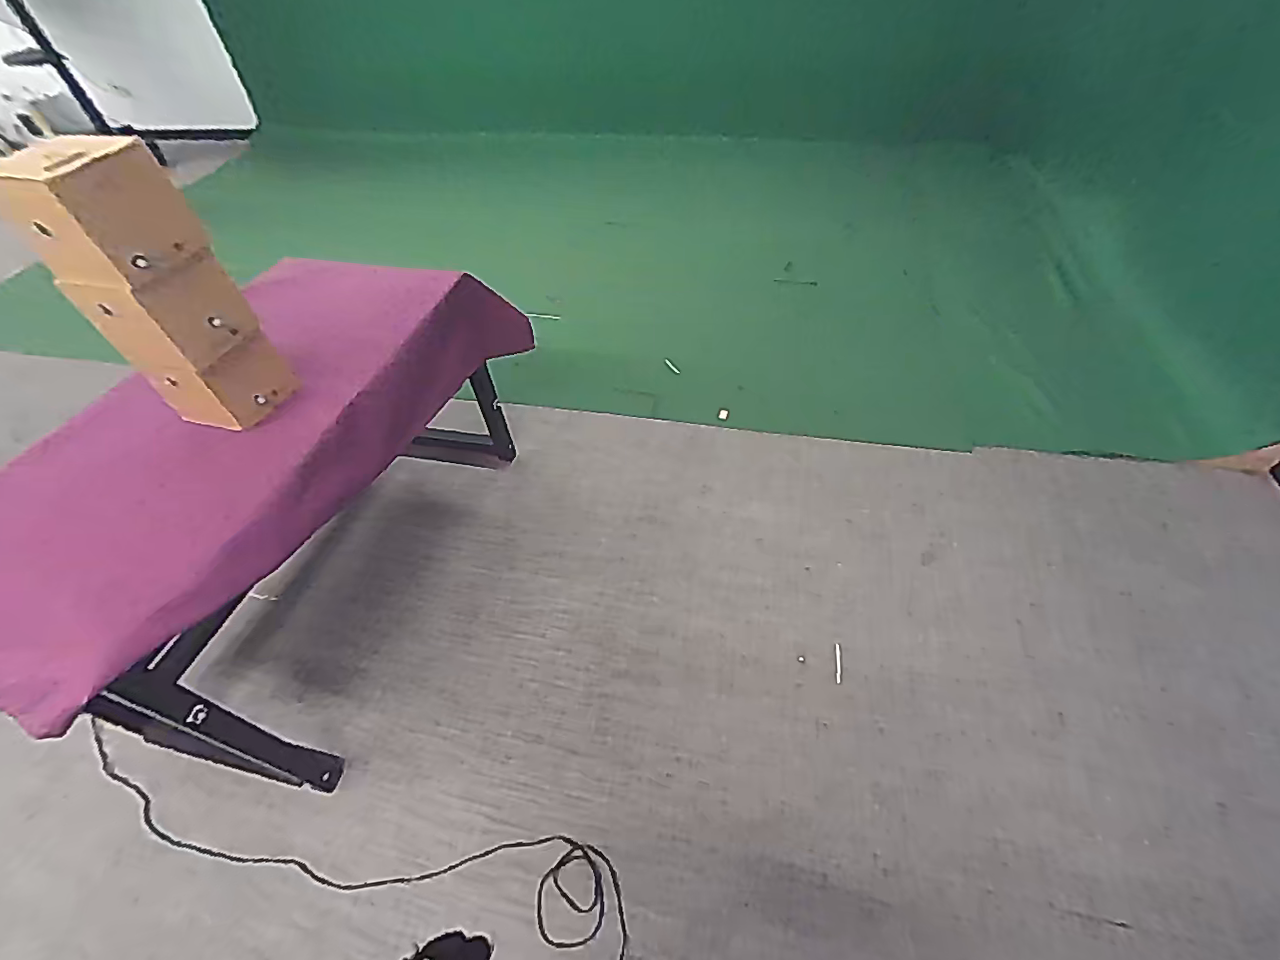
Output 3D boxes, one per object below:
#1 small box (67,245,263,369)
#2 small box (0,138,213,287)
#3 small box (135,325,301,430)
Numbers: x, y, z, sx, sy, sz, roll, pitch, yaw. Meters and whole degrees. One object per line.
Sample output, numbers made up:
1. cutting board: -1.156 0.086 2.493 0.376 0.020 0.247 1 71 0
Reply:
1. small box: -0.870 -0.326 1.009 0.179 0.176 0.168 10 52 13
2. small box: -0.869 -0.435 0.886 0.179 0.176 0.168 10 51 14
3. small box: -0.874 -0.225 1.139 0.179 0.176 0.168 12 52 14
